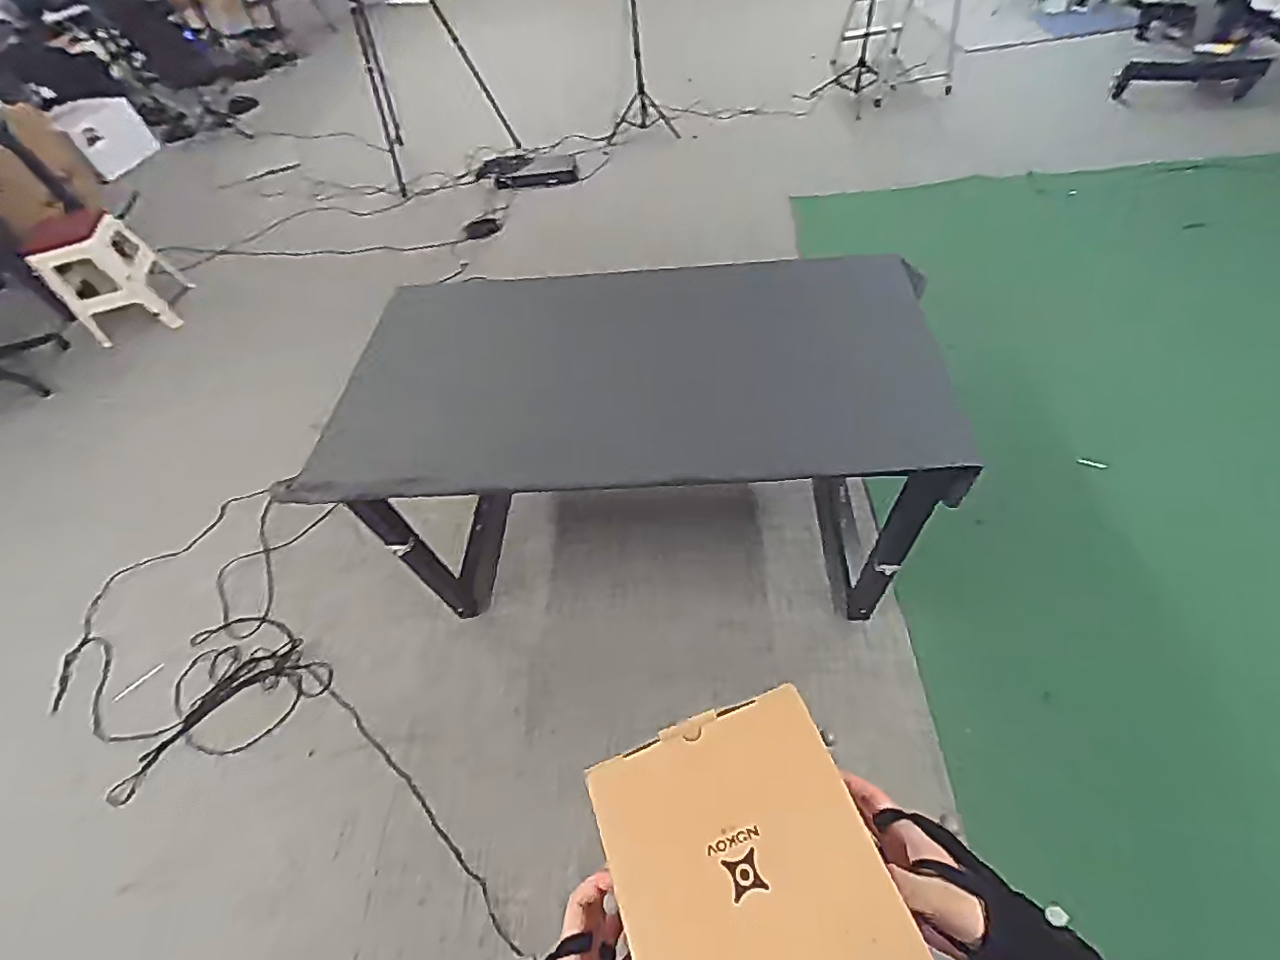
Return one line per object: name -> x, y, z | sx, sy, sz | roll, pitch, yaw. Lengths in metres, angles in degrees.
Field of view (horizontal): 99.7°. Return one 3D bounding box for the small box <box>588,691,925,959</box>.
small box -> 0.079, 0.289, 0.408 | 0.168, 0.176, 0.179 | -22, 54, -2
